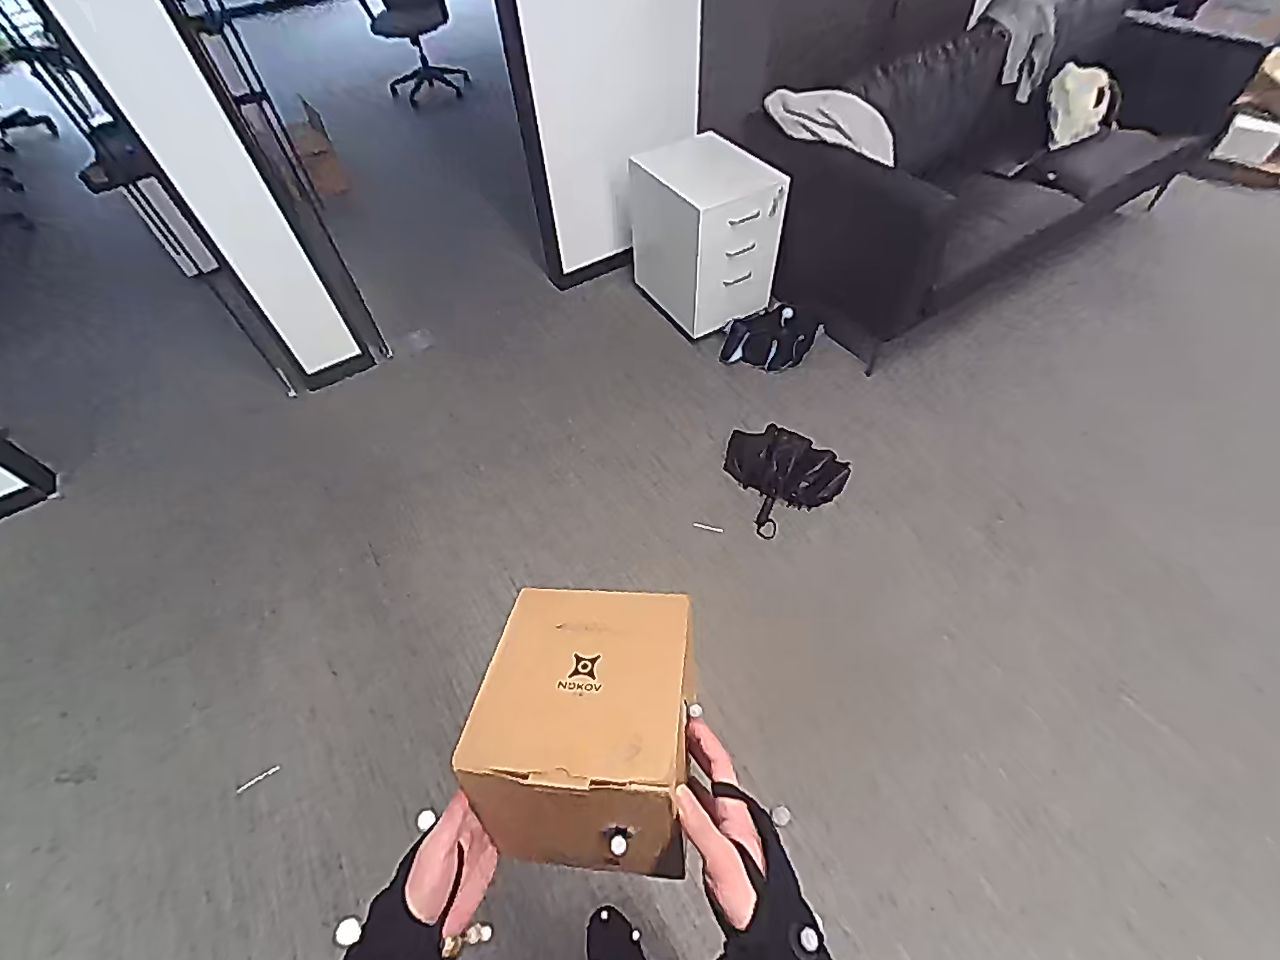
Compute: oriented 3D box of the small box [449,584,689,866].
[{"bbox_3d":[-0.043,0.219,0.494,0.168,0.176,0.179,1,36,8],"label":"small box"}]
